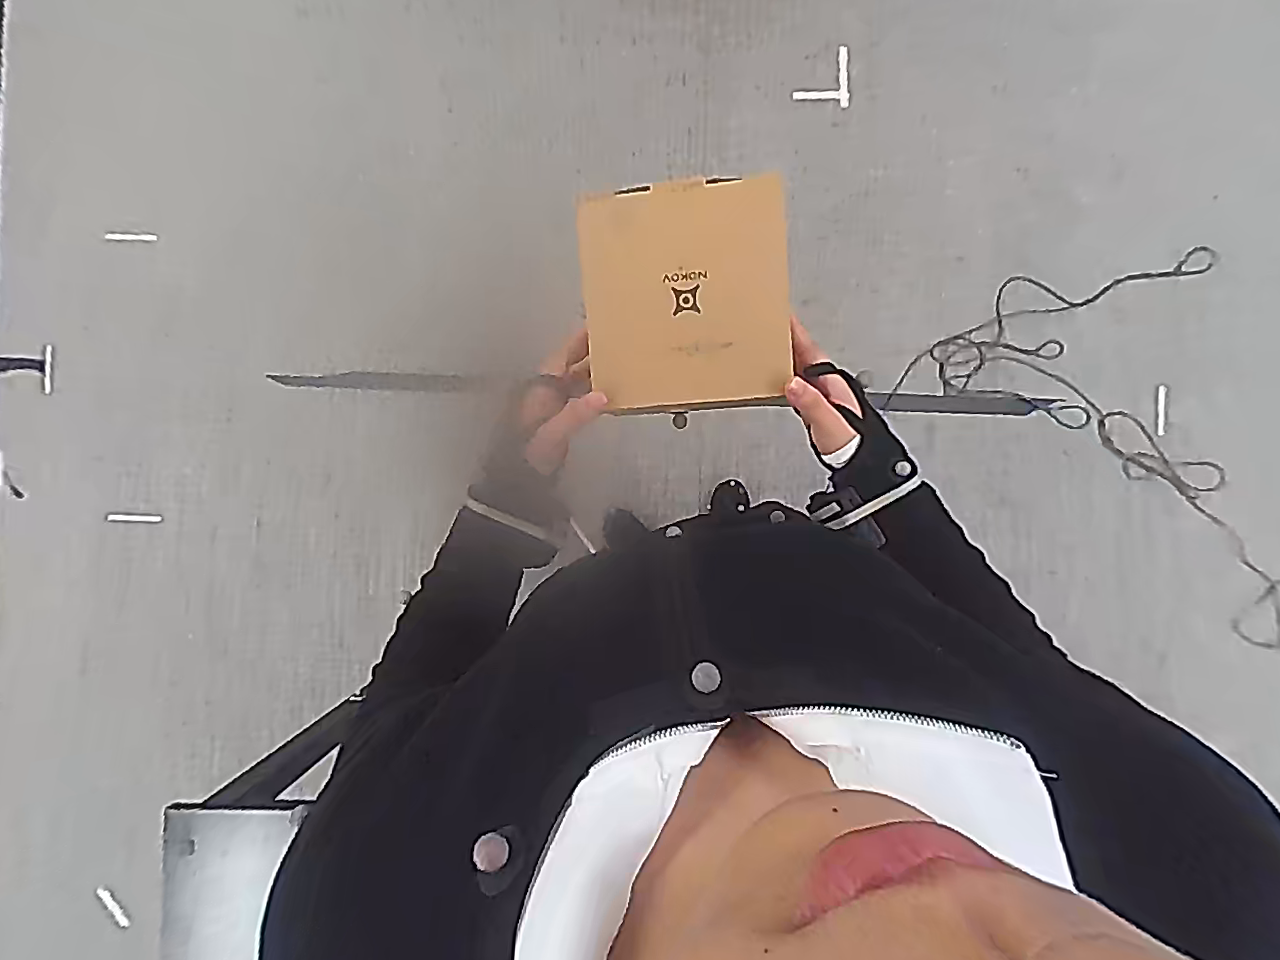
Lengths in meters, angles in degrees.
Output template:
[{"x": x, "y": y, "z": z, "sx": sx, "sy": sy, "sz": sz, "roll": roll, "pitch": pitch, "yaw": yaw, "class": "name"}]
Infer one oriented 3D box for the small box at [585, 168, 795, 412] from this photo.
[{"x": 0.045, "y": -0.161, "z": 0.515, "sx": 0.168, "sy": 0.176, "sz": 0.179, "roll": -4, "pitch": 95, "yaw": 5, "class": "small box"}]
